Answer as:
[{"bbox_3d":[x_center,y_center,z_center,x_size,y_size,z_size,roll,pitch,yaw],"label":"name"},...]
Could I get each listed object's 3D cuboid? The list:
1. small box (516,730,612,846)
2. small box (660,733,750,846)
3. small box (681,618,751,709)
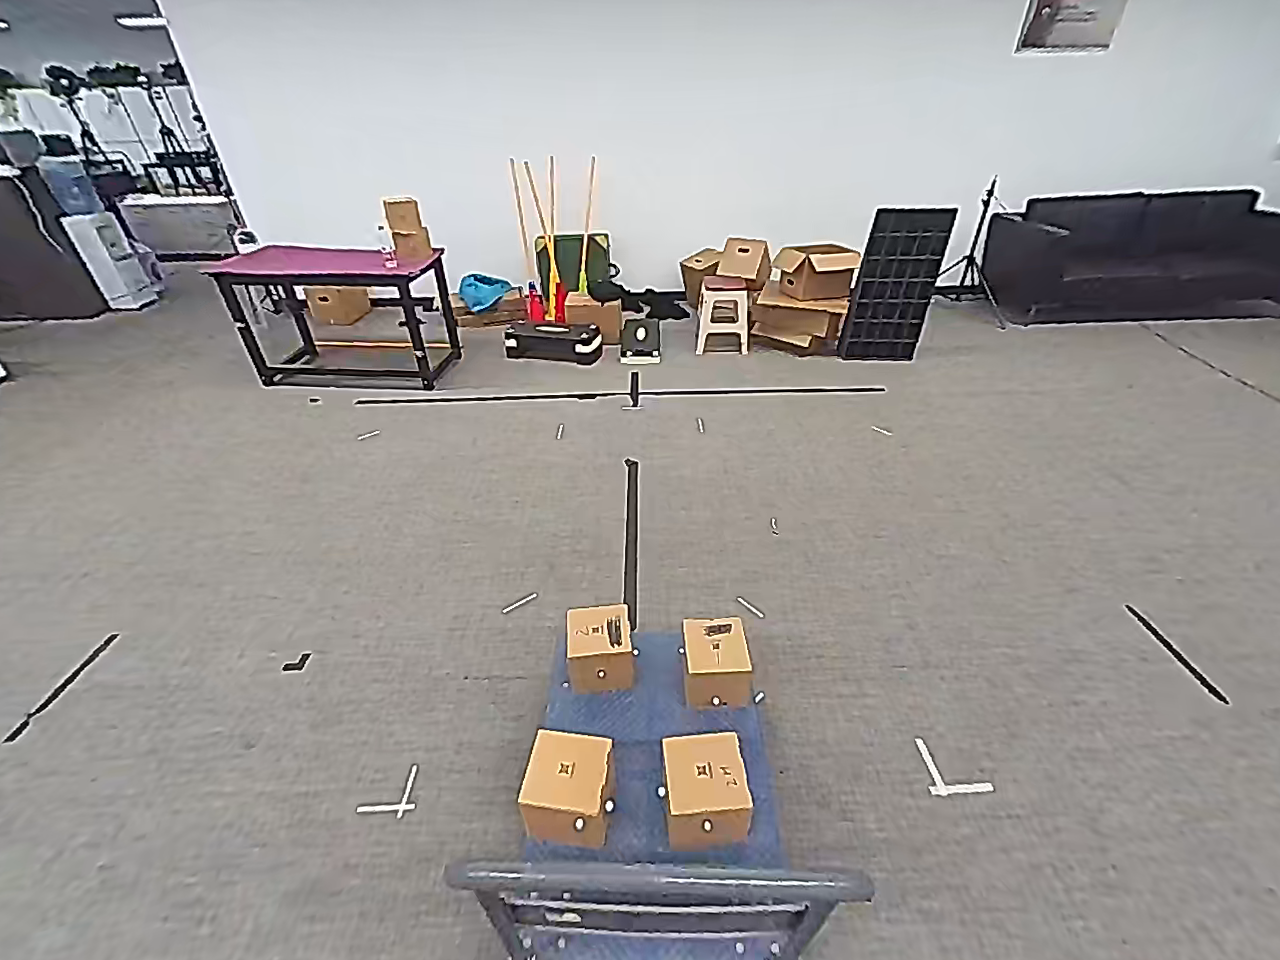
[{"bbox_3d":[-0.163,0.698,1.227,0.179,0.176,0.168,5,35,6],"label":"small box"},{"bbox_3d":[0.141,0.699,1.218,0.179,0.176,0.168,-3,36,-3],"label":"small box"},{"bbox_3d":[0.202,0.504,1.490,0.168,0.176,0.179,-2,36,0],"label":"small box"}]
